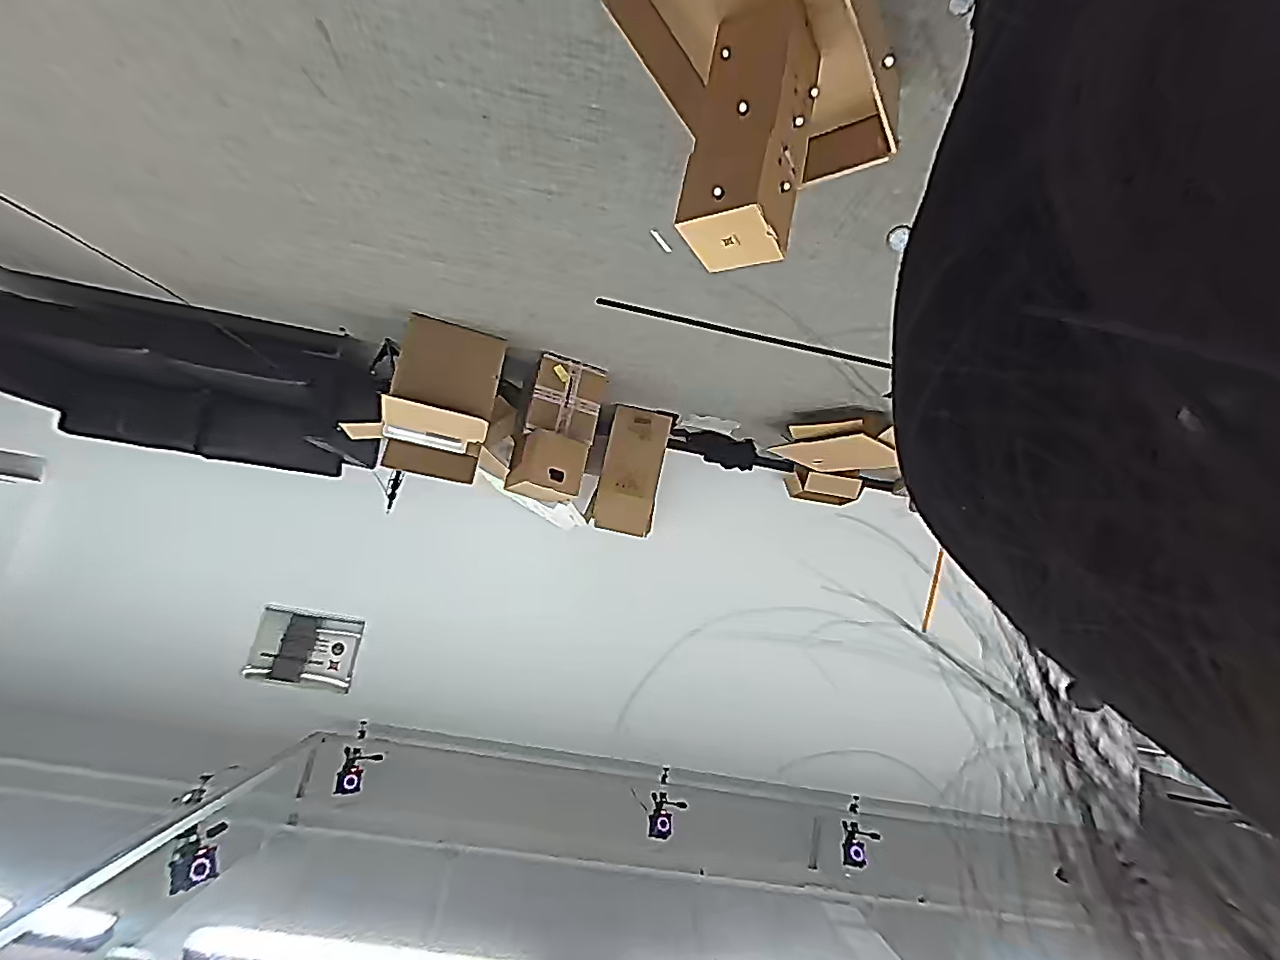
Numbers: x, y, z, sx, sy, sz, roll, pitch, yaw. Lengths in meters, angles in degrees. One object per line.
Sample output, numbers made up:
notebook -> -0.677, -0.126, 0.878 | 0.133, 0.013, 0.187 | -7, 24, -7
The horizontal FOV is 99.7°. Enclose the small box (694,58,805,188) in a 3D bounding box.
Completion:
small box -> 0.232, -0.711, 1.113 | 0.179, 0.176, 0.168 | 3, 166, 34

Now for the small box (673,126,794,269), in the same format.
small box -> 0.192, -0.556, 1.080 | 0.179, 0.176, 0.168 | 3, 166, 35
